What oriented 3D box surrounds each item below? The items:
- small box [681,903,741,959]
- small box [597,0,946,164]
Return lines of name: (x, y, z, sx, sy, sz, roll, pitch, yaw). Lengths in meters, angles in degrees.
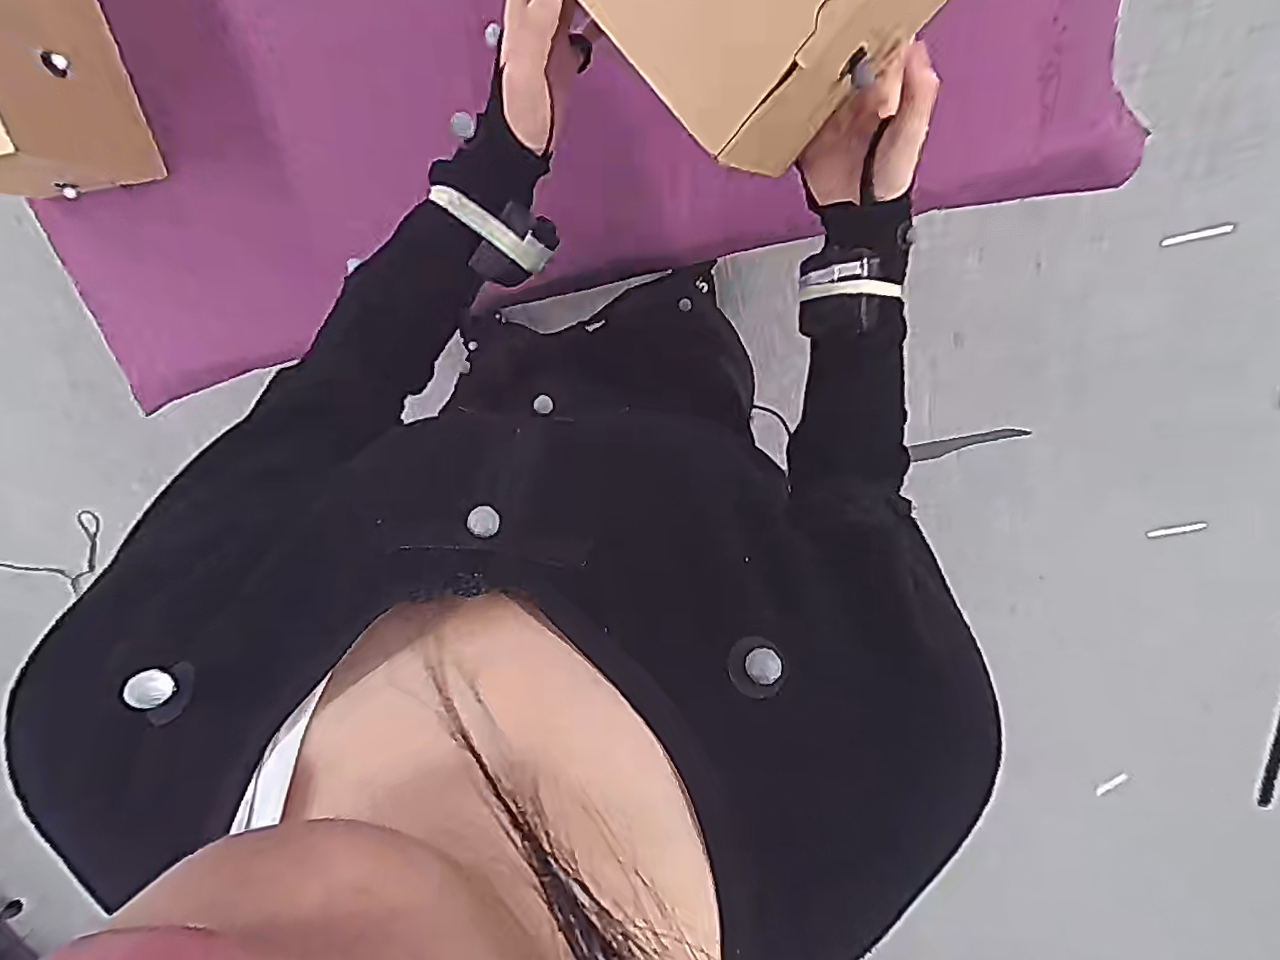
small box: (0.223, 1.480, 1.712, 0.179, 0.176, 0.168, -4, 111, 4)
small box: (0.082, -0.327, 0.334, 0.179, 0.176, 0.168, 50, 125, -1)
